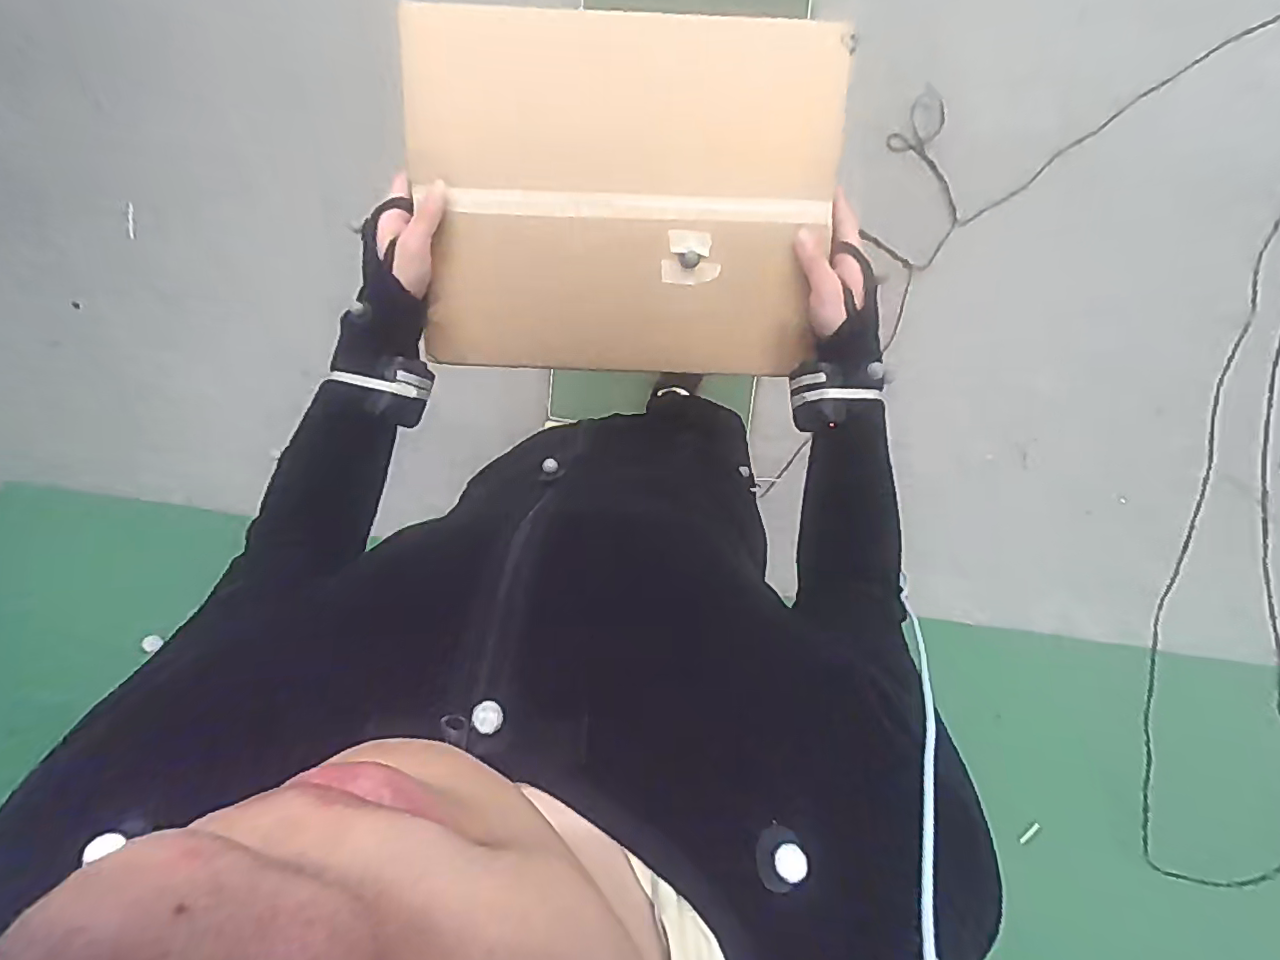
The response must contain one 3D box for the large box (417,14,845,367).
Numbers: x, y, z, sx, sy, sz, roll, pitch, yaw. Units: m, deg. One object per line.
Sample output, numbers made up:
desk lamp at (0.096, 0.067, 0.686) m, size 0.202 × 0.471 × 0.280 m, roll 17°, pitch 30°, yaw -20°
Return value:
large box at (-0.015, -0.311, 0.679) m, size 0.408 × 0.320 × 0.320 m, roll 2°, pitch 106°, yaw -2°
